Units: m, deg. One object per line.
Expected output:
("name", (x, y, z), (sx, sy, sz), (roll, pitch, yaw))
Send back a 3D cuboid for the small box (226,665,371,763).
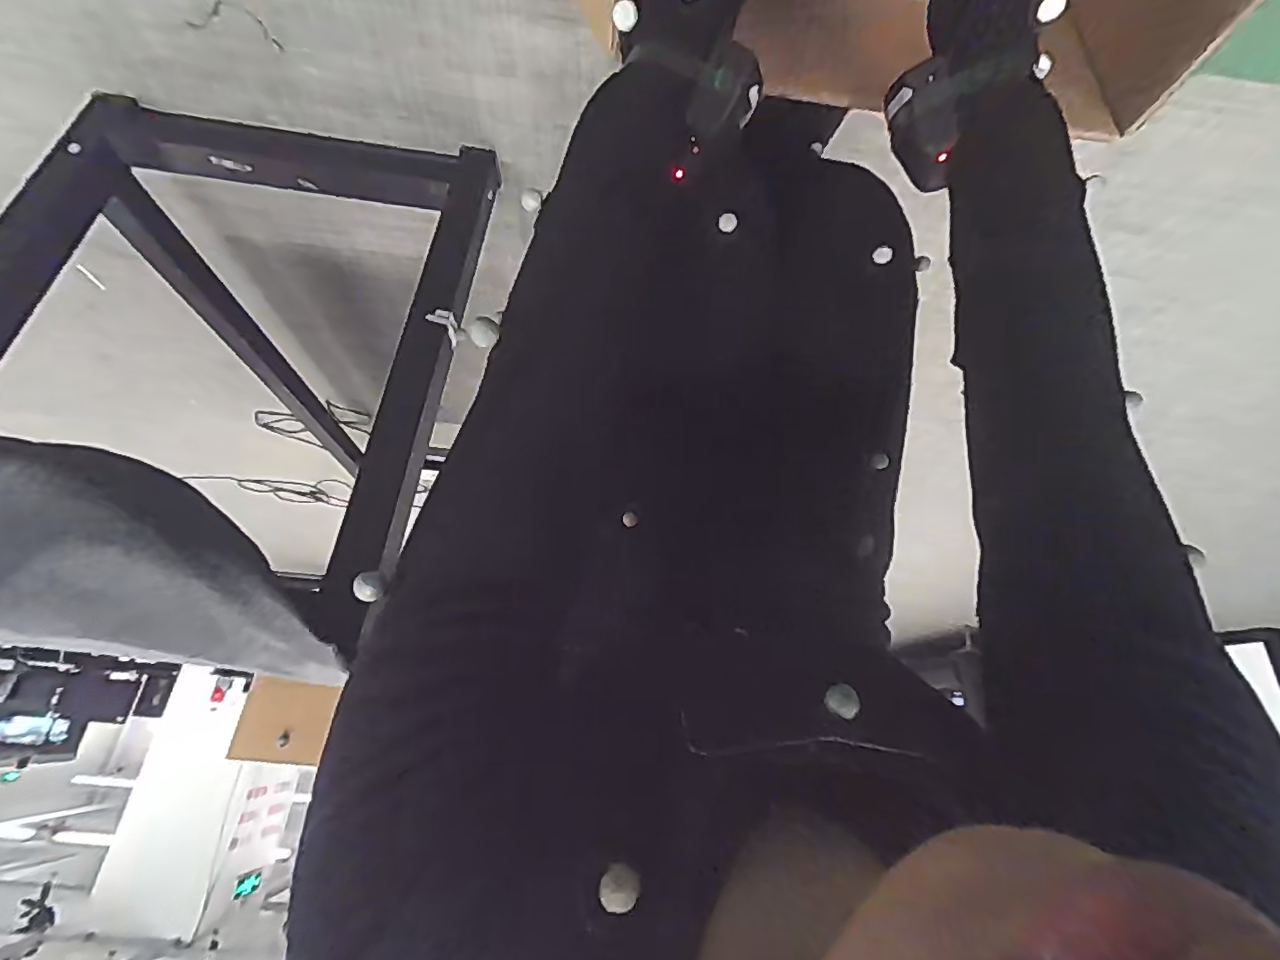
("small box", (-0.684, 0.475, 1.107), (0.179, 0.176, 0.168), (6, 156, -5))
